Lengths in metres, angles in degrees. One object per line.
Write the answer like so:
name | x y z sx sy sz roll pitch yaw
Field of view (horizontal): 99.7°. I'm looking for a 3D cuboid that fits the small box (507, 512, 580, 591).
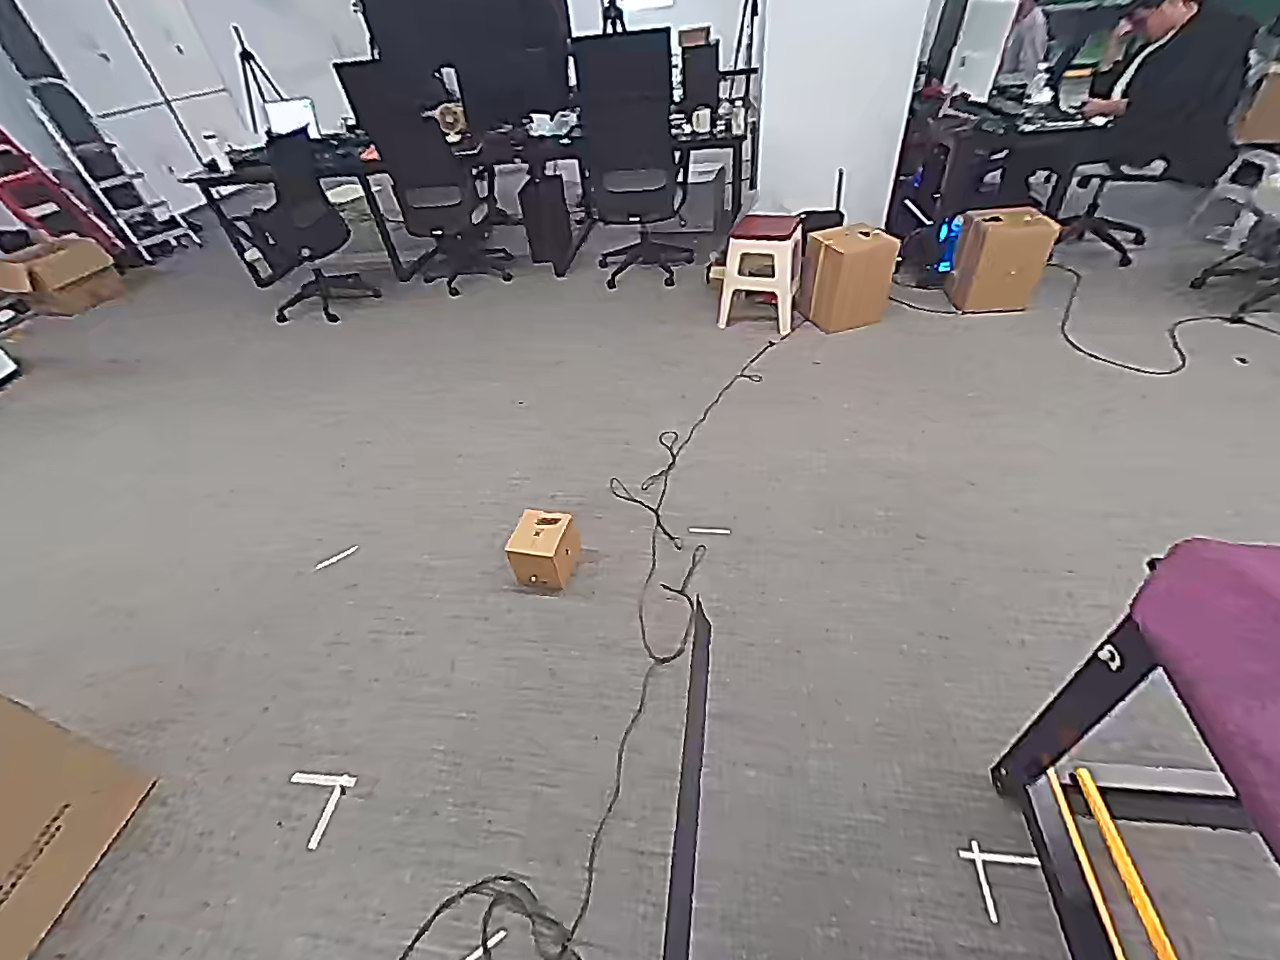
small box | -0.302 0.230 1.741 0.168 0.176 0.179 6 45 16
